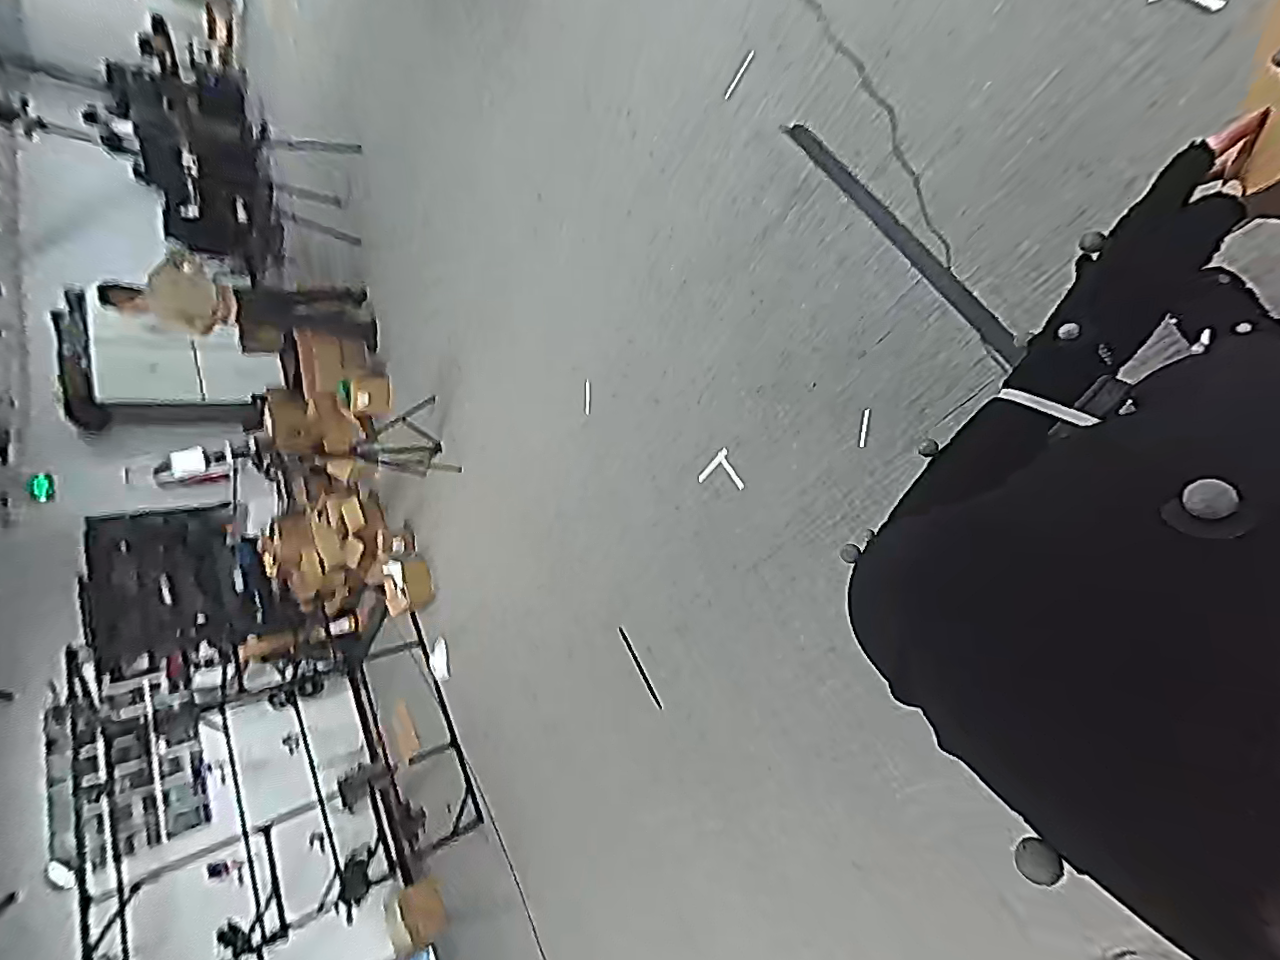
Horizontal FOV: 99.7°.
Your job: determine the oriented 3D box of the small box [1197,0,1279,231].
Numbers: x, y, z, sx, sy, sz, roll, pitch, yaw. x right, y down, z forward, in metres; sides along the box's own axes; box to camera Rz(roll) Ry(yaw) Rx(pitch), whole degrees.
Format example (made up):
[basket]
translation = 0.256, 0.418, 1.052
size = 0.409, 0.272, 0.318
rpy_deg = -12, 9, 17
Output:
[small box]
translation = 0.468, -0.244, 0.279
size = 0.168, 0.179, 0.176
rpy_deg = 11, 92, 11
